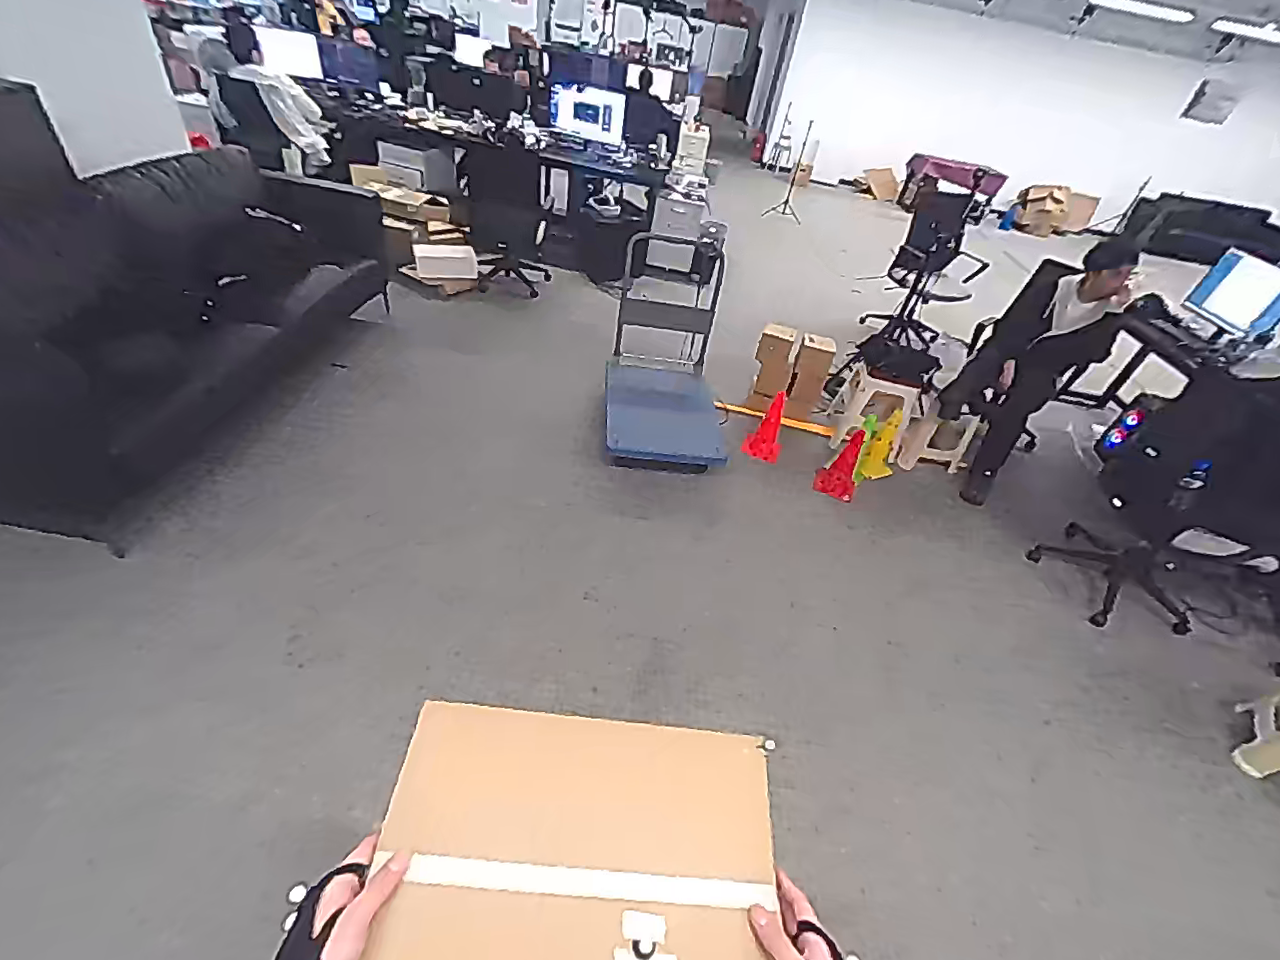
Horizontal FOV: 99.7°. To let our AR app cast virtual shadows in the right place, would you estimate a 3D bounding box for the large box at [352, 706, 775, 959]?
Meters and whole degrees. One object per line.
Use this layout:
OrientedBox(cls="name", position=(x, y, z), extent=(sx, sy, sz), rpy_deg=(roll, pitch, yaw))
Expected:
OrientedBox(cls="large box", position=(-0.085, 0.503, 0.657), extent=(0.408, 0.320, 0.320), rpy_deg=(8, 48, -4))
